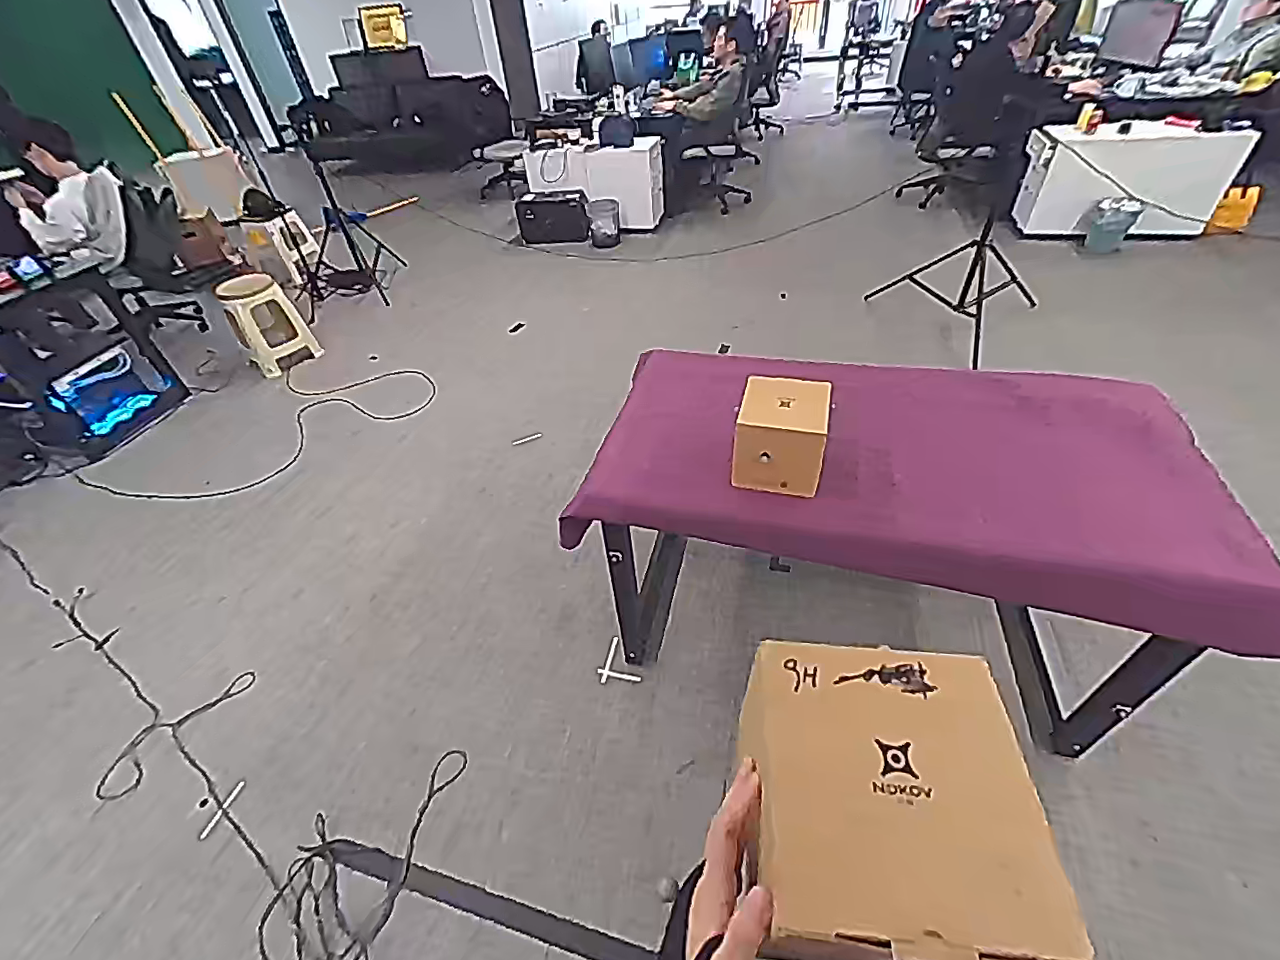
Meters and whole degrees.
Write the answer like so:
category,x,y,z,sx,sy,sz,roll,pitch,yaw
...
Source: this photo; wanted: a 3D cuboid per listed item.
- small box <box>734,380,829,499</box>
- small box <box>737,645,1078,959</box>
category,x,y,z,sx,sy,sz,roll,pitch,yaw
small box,0.288,-0.083,1.112,0.168,0.176,0.179,9,43,15
small box,0.166,0.250,0.409,0.168,0.176,0.179,3,46,5
